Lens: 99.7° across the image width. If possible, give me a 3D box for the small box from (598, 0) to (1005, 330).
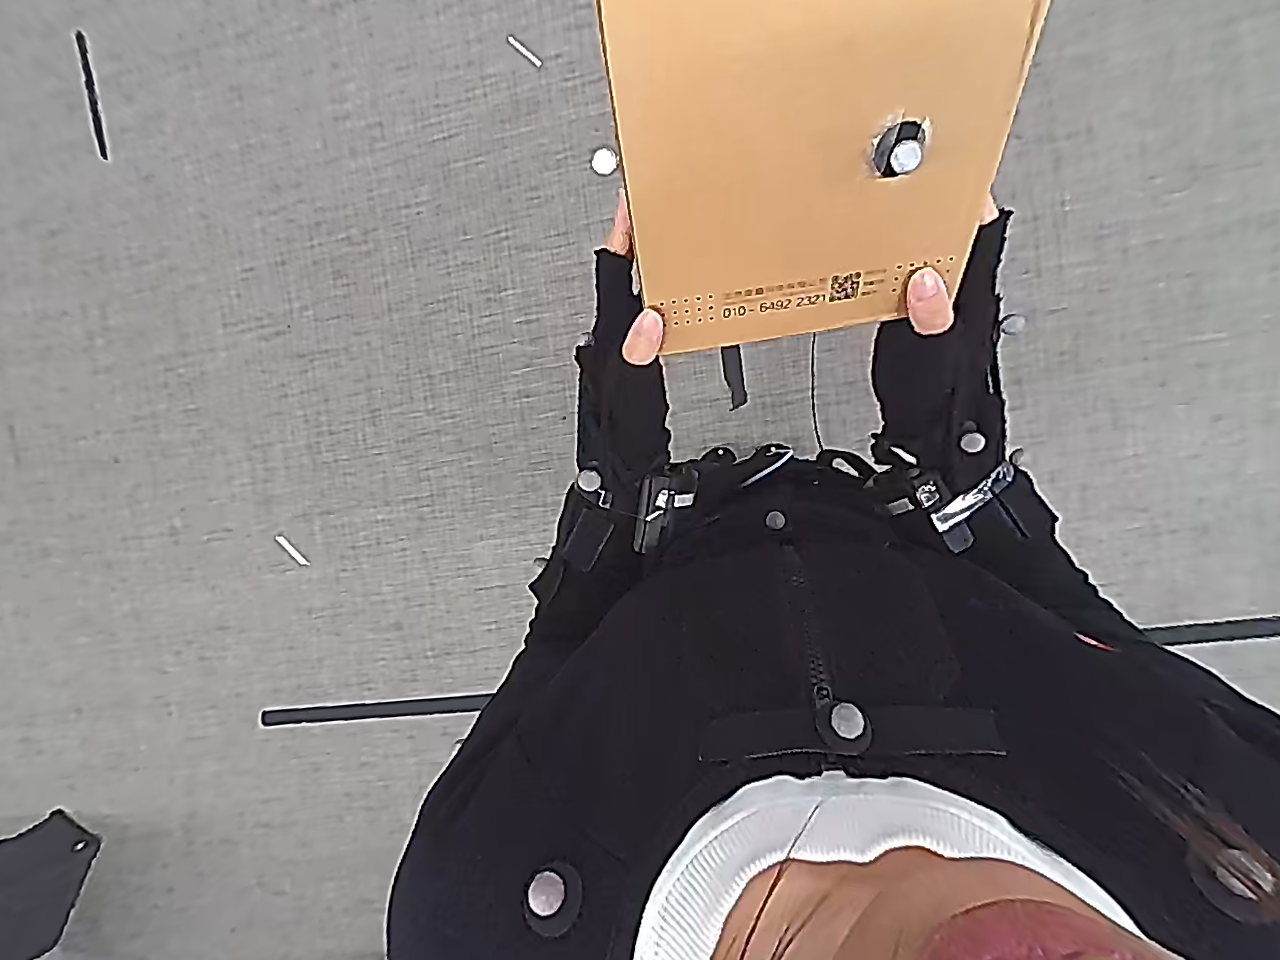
[{"bbox_3d":[0.074,-0.202,0.312,0.168,0.176,0.179,-7,48,5],"label":"small box"}]
